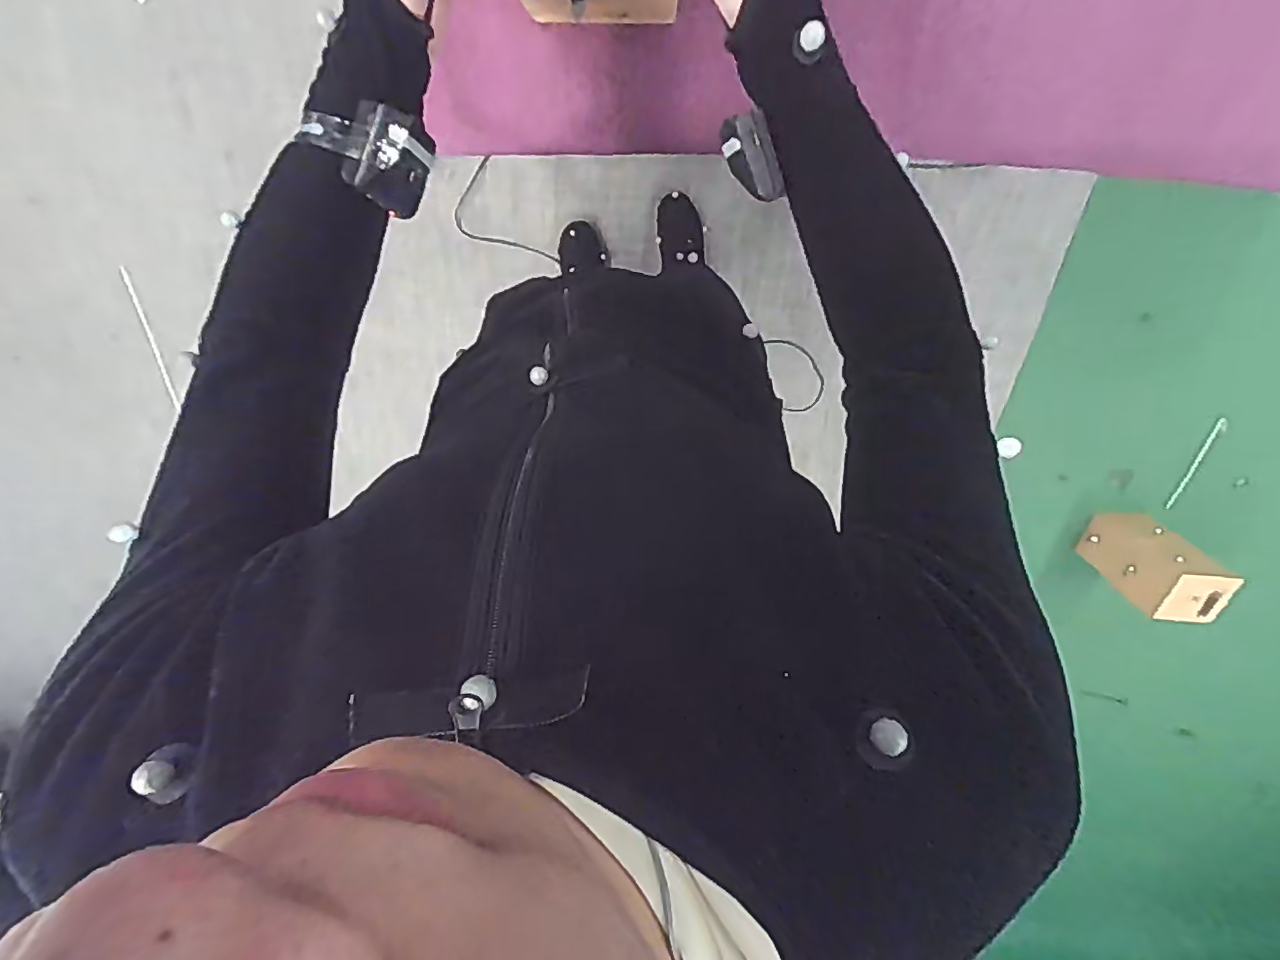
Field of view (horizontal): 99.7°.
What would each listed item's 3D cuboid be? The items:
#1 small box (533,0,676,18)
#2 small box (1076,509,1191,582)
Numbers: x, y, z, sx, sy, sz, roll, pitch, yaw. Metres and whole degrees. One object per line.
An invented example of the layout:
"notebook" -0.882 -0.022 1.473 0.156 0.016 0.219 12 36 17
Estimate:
"small box" -0.041 -0.578 0.524 0.168 0.176 0.179 1 118 1
"small box" 1.573 0.207 1.737 0.179 0.176 0.168 5 119 -1
